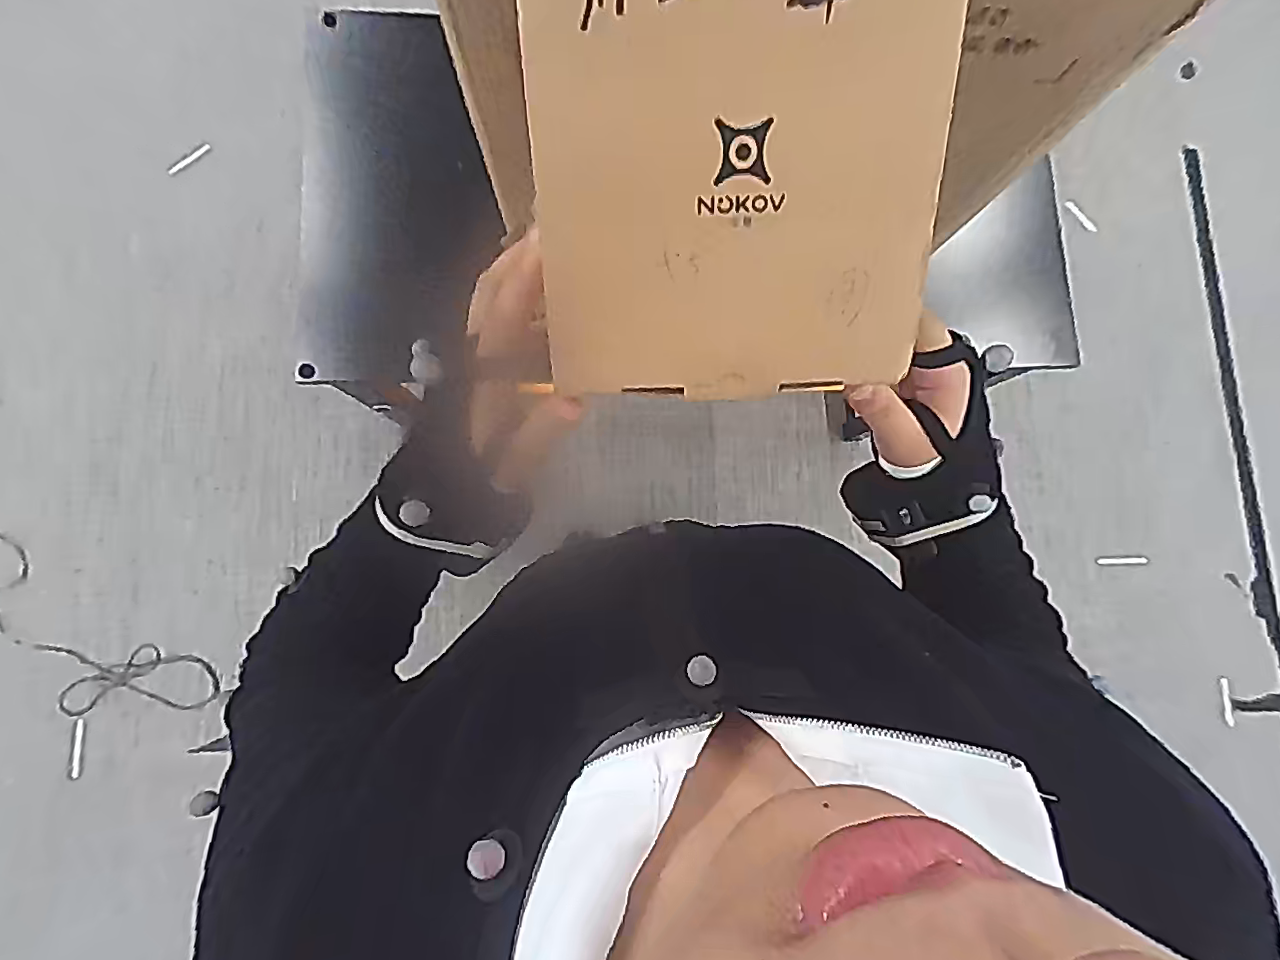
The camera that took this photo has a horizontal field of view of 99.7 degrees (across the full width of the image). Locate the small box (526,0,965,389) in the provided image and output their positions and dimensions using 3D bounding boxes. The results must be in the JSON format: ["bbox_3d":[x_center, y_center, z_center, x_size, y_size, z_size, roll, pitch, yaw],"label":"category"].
[{"bbox_3d":[0.038,-0.158,0.297,0.168,0.176,0.179,-3,113,-1],"label":"small box"}]
